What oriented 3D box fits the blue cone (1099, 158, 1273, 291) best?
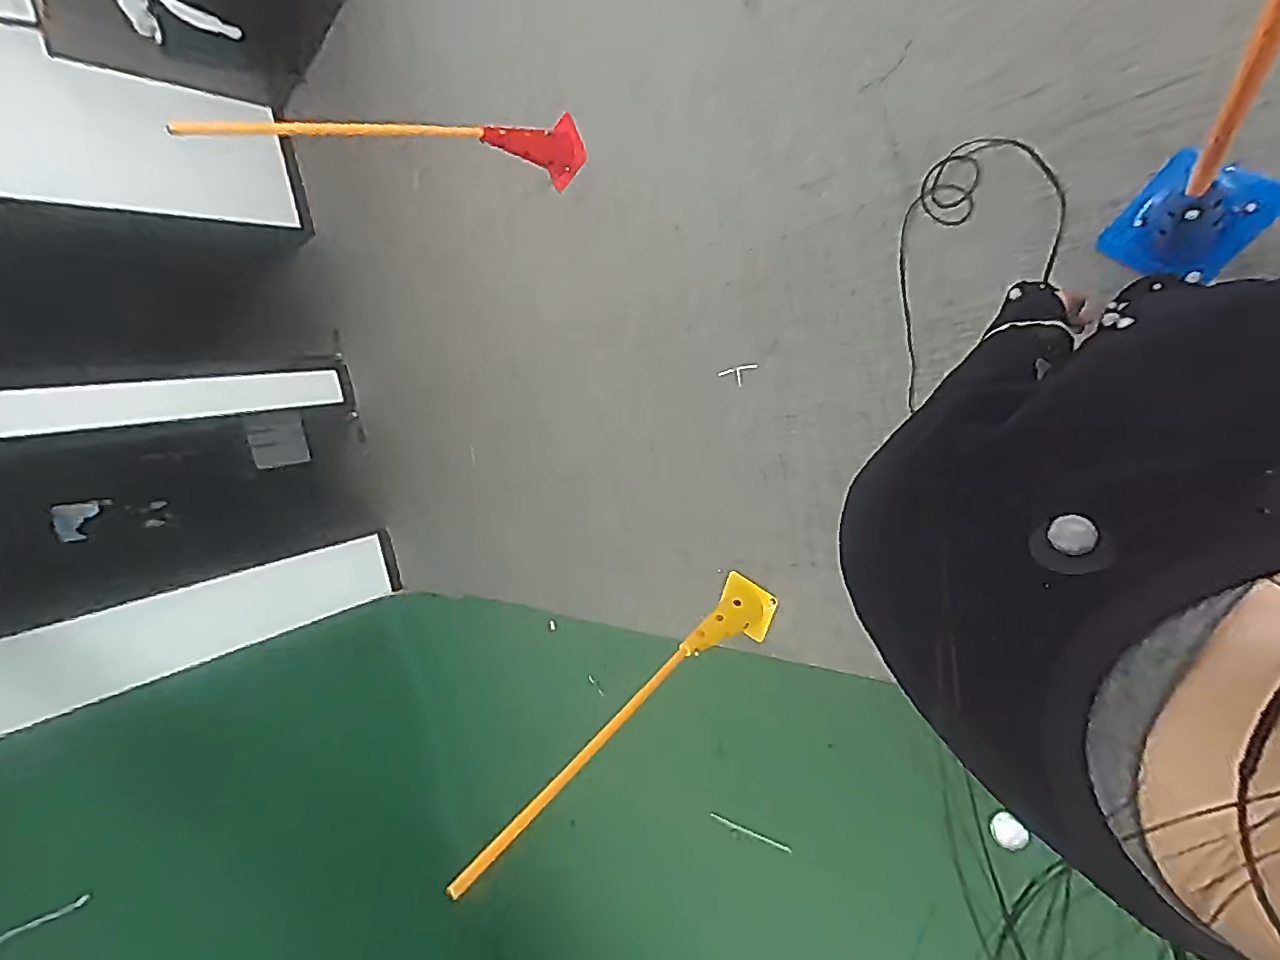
[{"bbox_3d":[0.899,-0.447,0.890,0.192,0.380,0.193,46,127,24],"label":"blue cone"}]
